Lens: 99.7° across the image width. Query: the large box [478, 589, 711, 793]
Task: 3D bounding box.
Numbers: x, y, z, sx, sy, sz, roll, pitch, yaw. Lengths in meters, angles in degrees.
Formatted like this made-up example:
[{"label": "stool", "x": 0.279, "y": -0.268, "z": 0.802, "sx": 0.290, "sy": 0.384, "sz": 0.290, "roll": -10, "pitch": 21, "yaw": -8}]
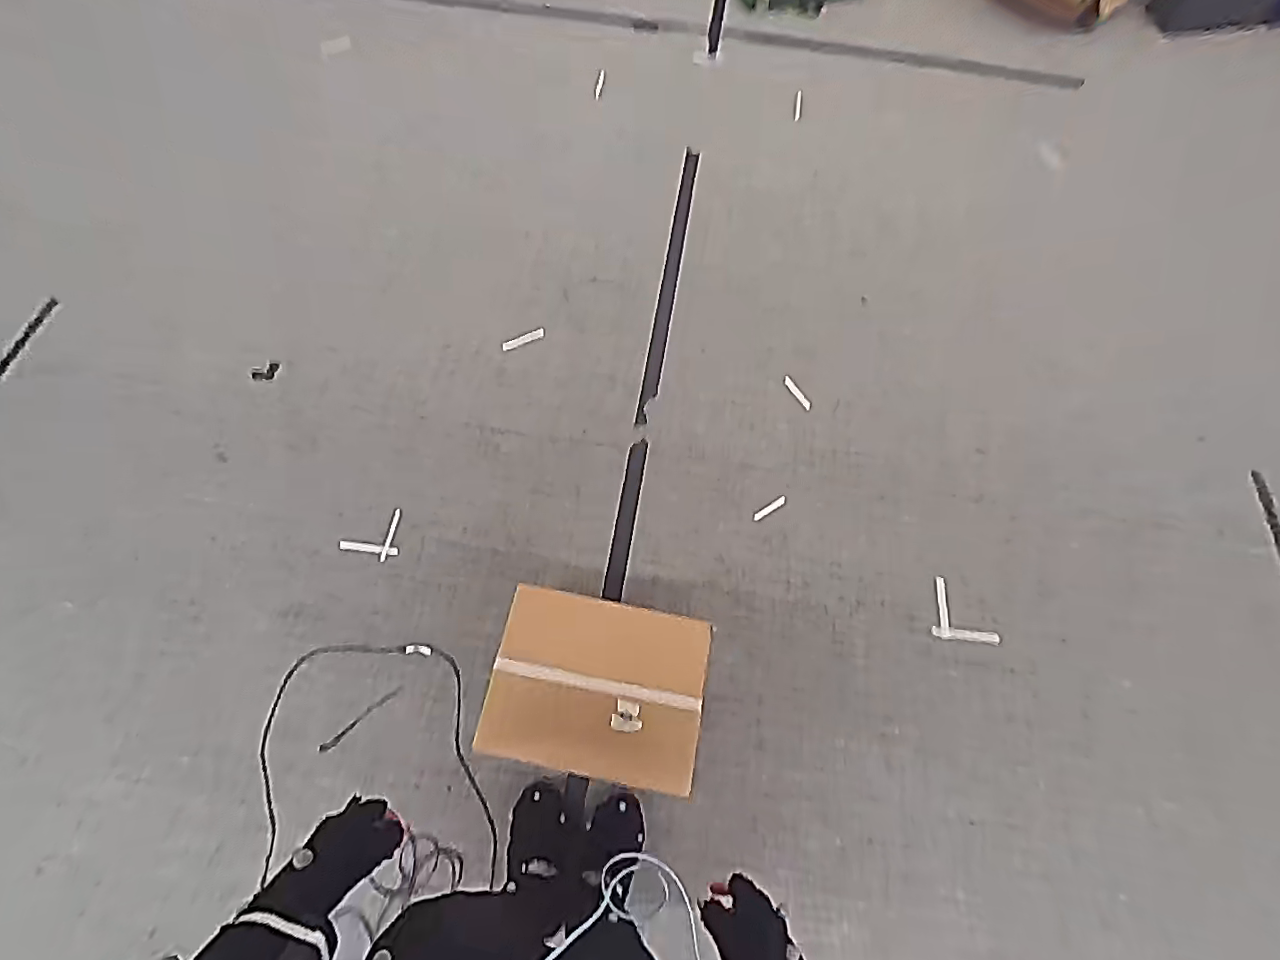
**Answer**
[{"label": "large box", "x": -0.088, "y": 0.453, "z": 1.176, "sx": 0.408, "sy": 0.320, "sz": 0.320, "roll": 12, "pitch": 67, "yaw": 1}]
